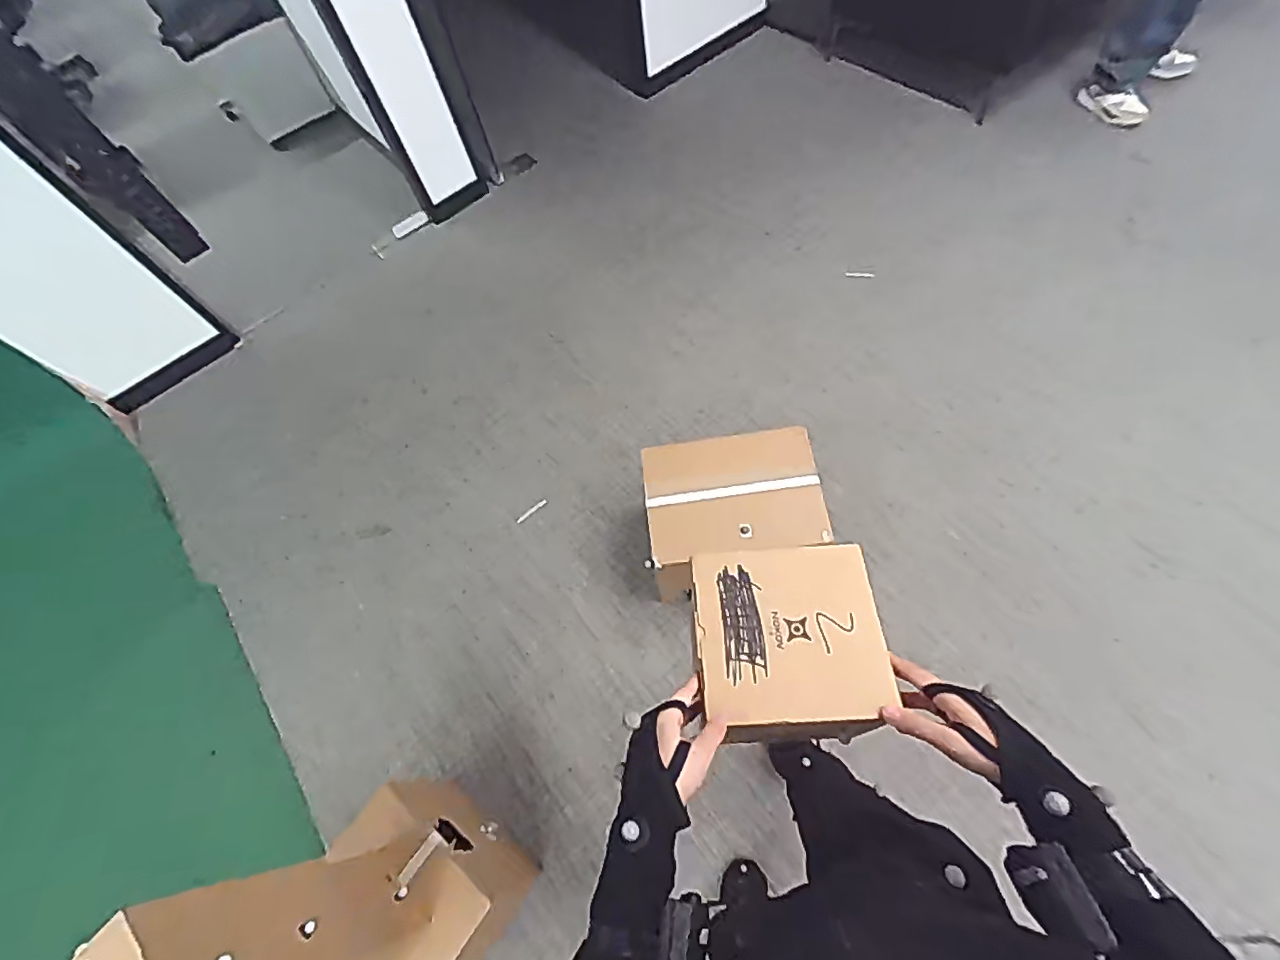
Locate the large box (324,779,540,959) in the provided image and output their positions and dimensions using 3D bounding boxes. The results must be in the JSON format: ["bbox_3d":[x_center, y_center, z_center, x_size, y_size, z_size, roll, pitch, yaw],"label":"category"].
[{"bbox_3d":[-0.472,0.886,1.083,0.320,0.320,0.408,31,72,23],"label":"large box"}]

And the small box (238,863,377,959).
[{"bbox_3d":[-0.503,0.667,0.737,0.179,0.176,0.168,37,73,22],"label":"small box"}]

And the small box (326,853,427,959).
[{"bbox_3d":[-0.486,0.752,0.876,0.168,0.176,0.179,36,72,22],"label":"small box"}]

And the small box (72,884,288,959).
[{"bbox_3d":[-0.527,0.592,0.593,0.179,0.176,0.168,36,72,21],"label":"small box"}]
